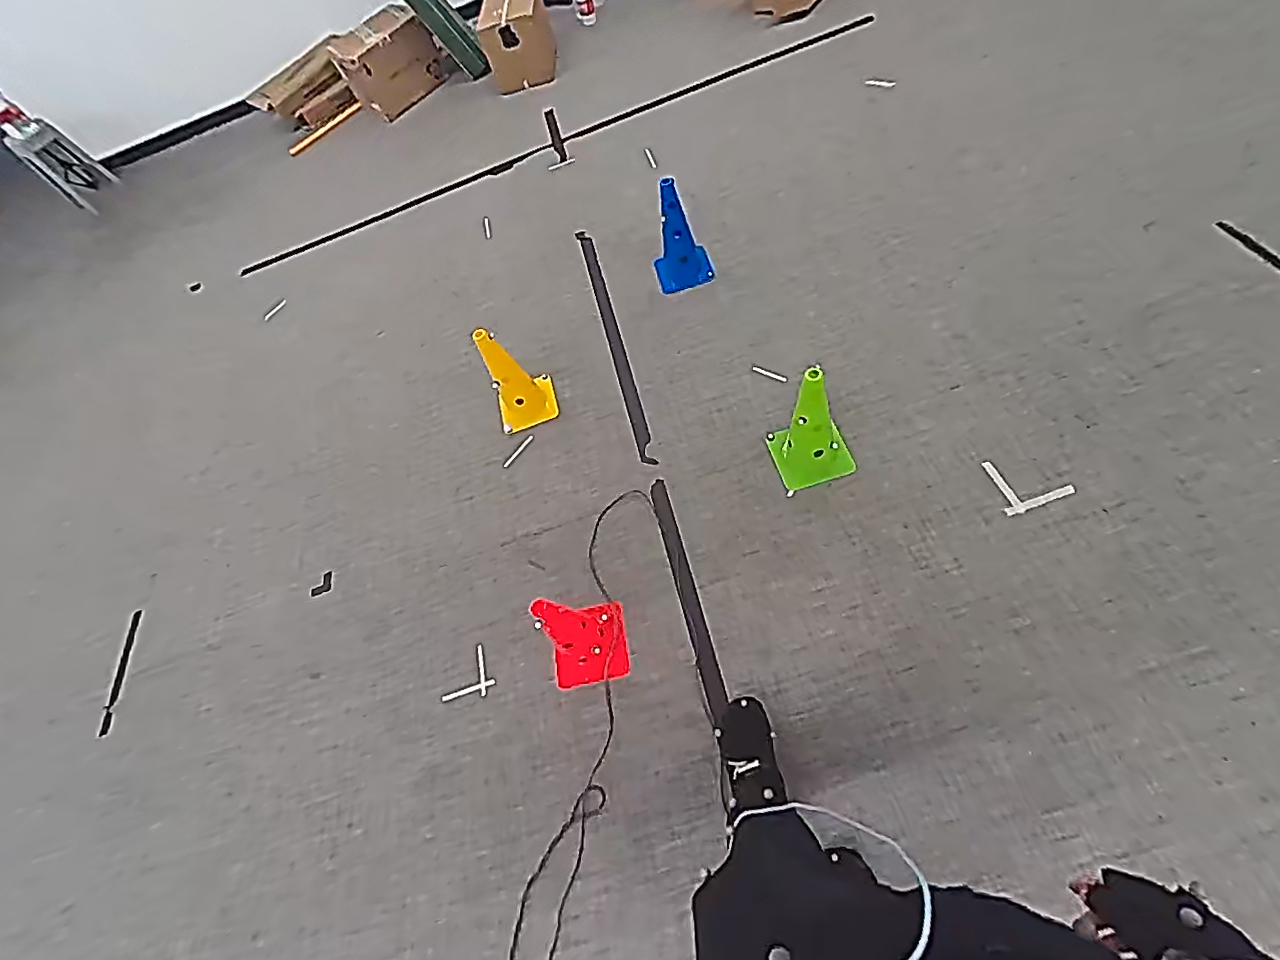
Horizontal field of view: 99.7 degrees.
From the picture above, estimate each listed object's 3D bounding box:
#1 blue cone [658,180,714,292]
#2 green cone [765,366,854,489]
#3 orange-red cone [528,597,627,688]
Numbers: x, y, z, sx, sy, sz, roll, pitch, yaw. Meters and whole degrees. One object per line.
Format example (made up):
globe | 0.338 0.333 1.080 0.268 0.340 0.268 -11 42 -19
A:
blue cone | 0.133 -0.867 1.900 0.192 0.380 0.193 -15 59 6
green cone | 0.444 -0.159 1.402 0.202 0.368 0.200 -18 59 4
orange-red cone | -0.179 0.354 1.291 0.199 0.360 0.198 -15 57 8
